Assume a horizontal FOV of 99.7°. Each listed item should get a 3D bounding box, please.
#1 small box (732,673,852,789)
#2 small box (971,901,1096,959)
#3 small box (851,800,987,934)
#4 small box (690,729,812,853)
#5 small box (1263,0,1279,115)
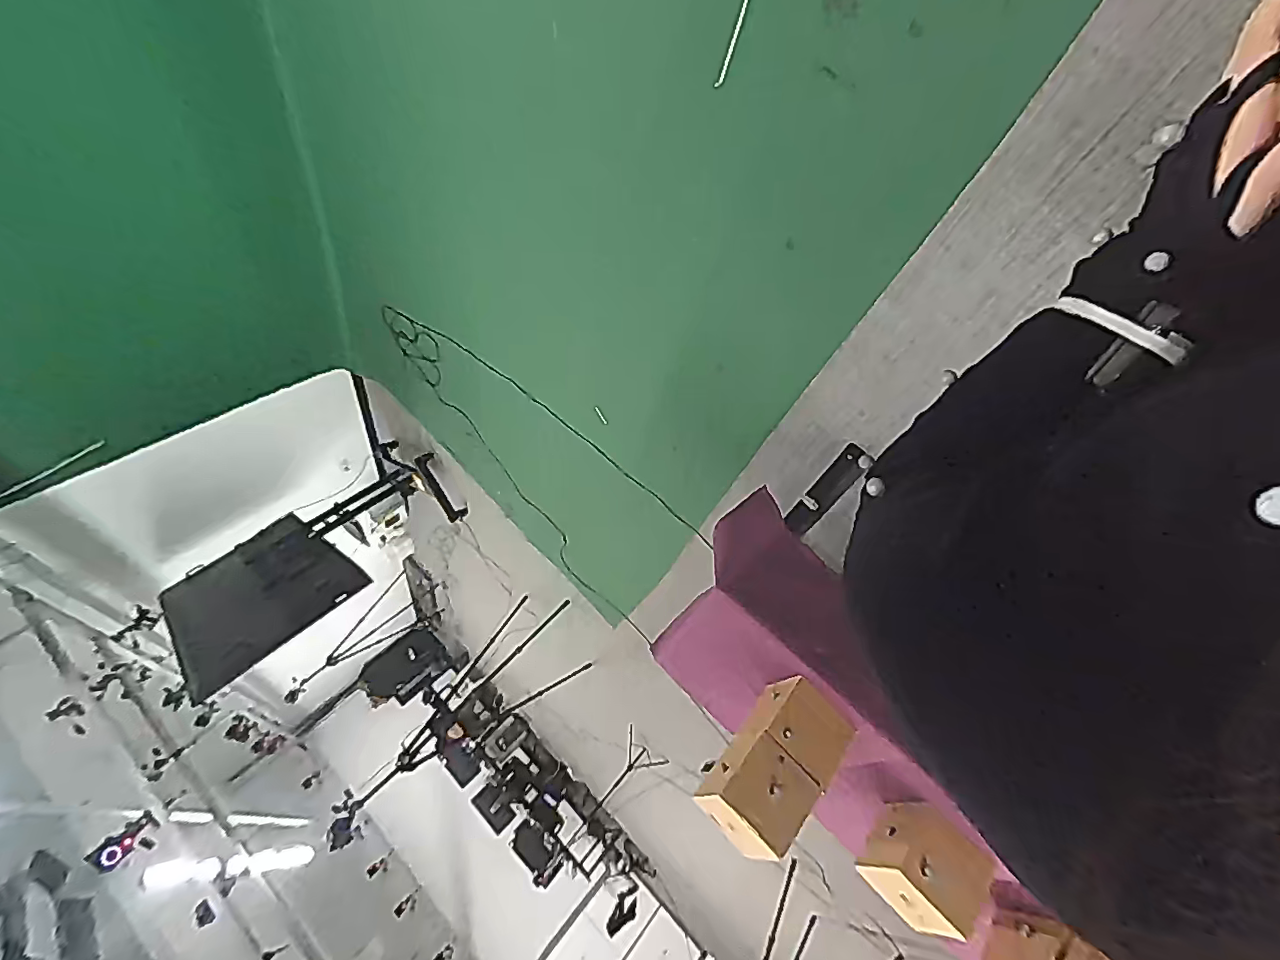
[{"bbox_3d":[0.355,0.583,1.259,0.179,0.176,0.168,46,147,9],"label":"small box"},{"bbox_3d":[0.830,1.025,1.110,0.179,0.176,0.168,47,147,9],"label":"small box"},{"bbox_3d":[0.611,0.834,1.189,0.179,0.176,0.168,44,147,12],"label":"small box"},{"bbox_3d":[0.245,0.667,1.172,0.168,0.176,0.179,44,146,12],"label":"small box"},{"bbox_3d":[0.407,-0.304,0.222,0.179,0.176,0.168,8,149,46],"label":"small box"}]
